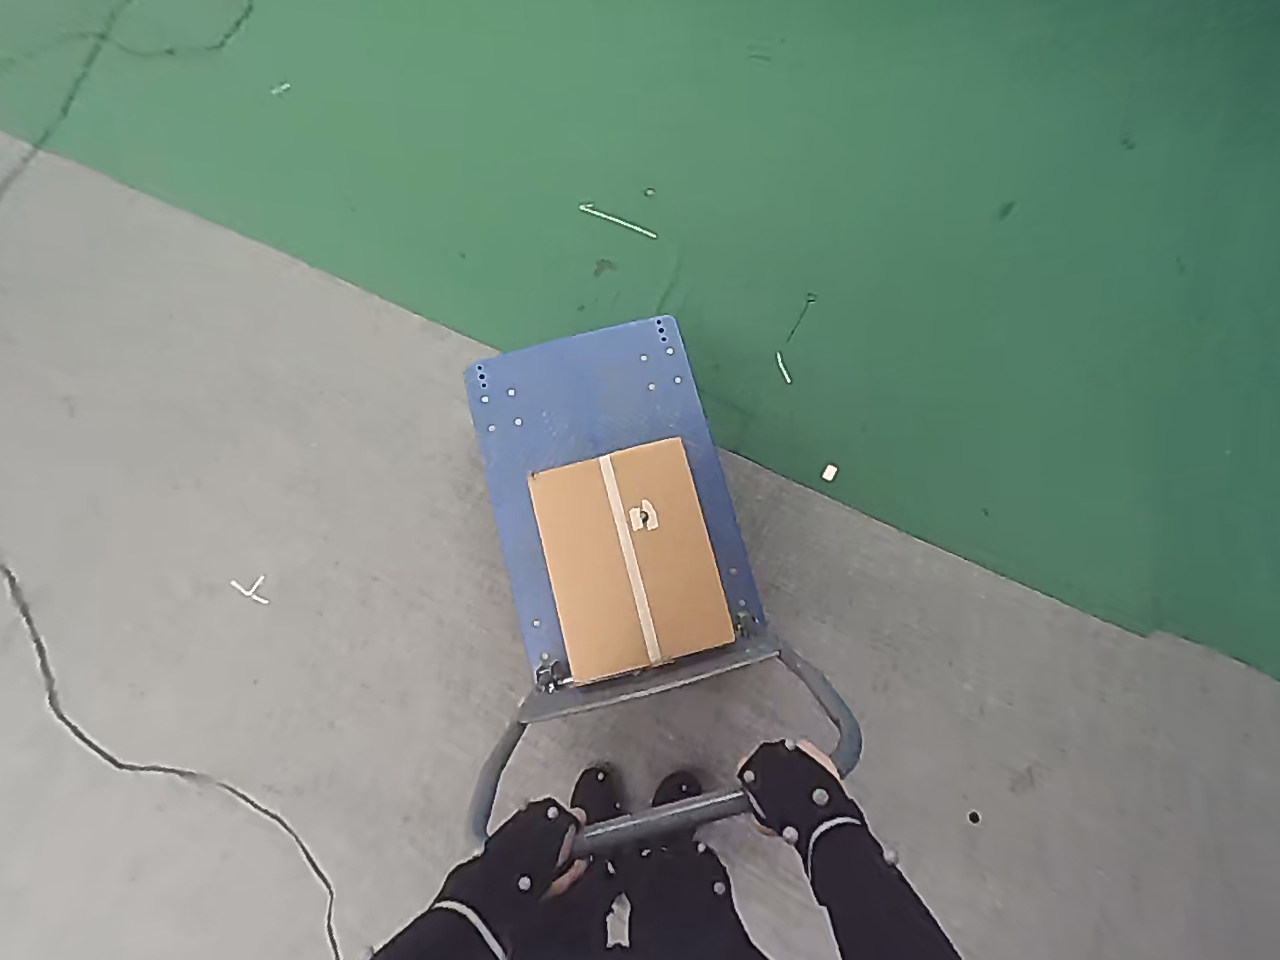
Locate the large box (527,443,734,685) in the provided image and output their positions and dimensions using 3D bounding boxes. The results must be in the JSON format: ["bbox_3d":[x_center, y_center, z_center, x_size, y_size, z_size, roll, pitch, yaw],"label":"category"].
[{"bbox_3d":[-0.018,0.179,1.177,0.320,0.320,0.408,-15,80,-2],"label":"large box"}]
